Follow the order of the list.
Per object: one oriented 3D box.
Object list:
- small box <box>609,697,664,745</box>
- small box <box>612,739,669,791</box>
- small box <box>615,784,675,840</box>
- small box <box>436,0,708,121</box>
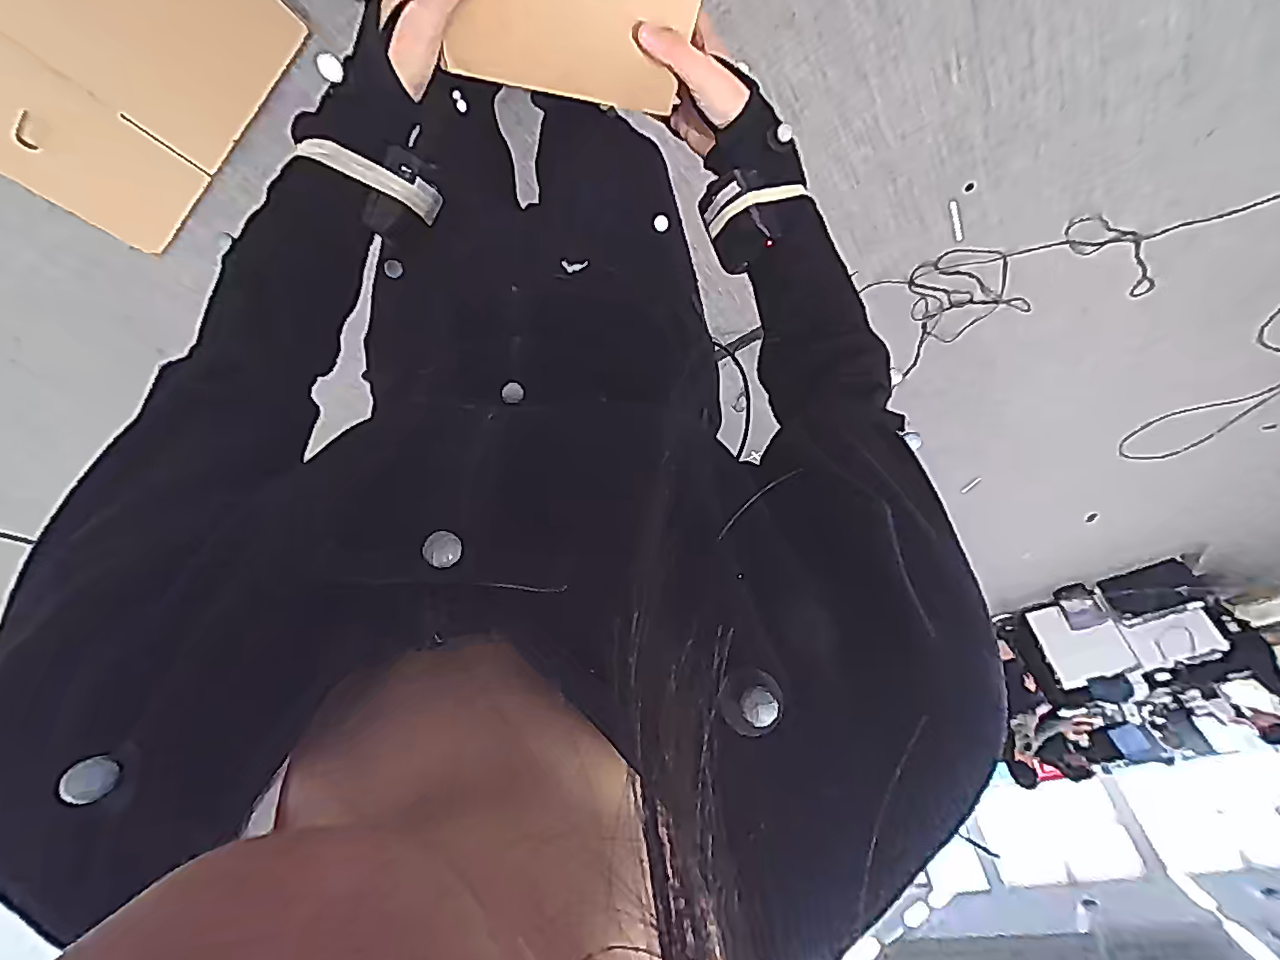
[{"bbox_3d":[-0.017,1.038,2.318,0.168,0.176,0.179,-25,142,22],"label":"small box"},{"bbox_3d":[0.000,1.170,2.221,0.168,0.176,0.179,-24,143,20],"label":"small box"},{"bbox_3d":[0.015,1.300,2.124,0.168,0.176,0.179,-24,143,20],"label":"small box"},{"bbox_3d":[-0.052,-0.397,0.386,0.179,0.176,0.168,-3,145,-21],"label":"small box"}]
